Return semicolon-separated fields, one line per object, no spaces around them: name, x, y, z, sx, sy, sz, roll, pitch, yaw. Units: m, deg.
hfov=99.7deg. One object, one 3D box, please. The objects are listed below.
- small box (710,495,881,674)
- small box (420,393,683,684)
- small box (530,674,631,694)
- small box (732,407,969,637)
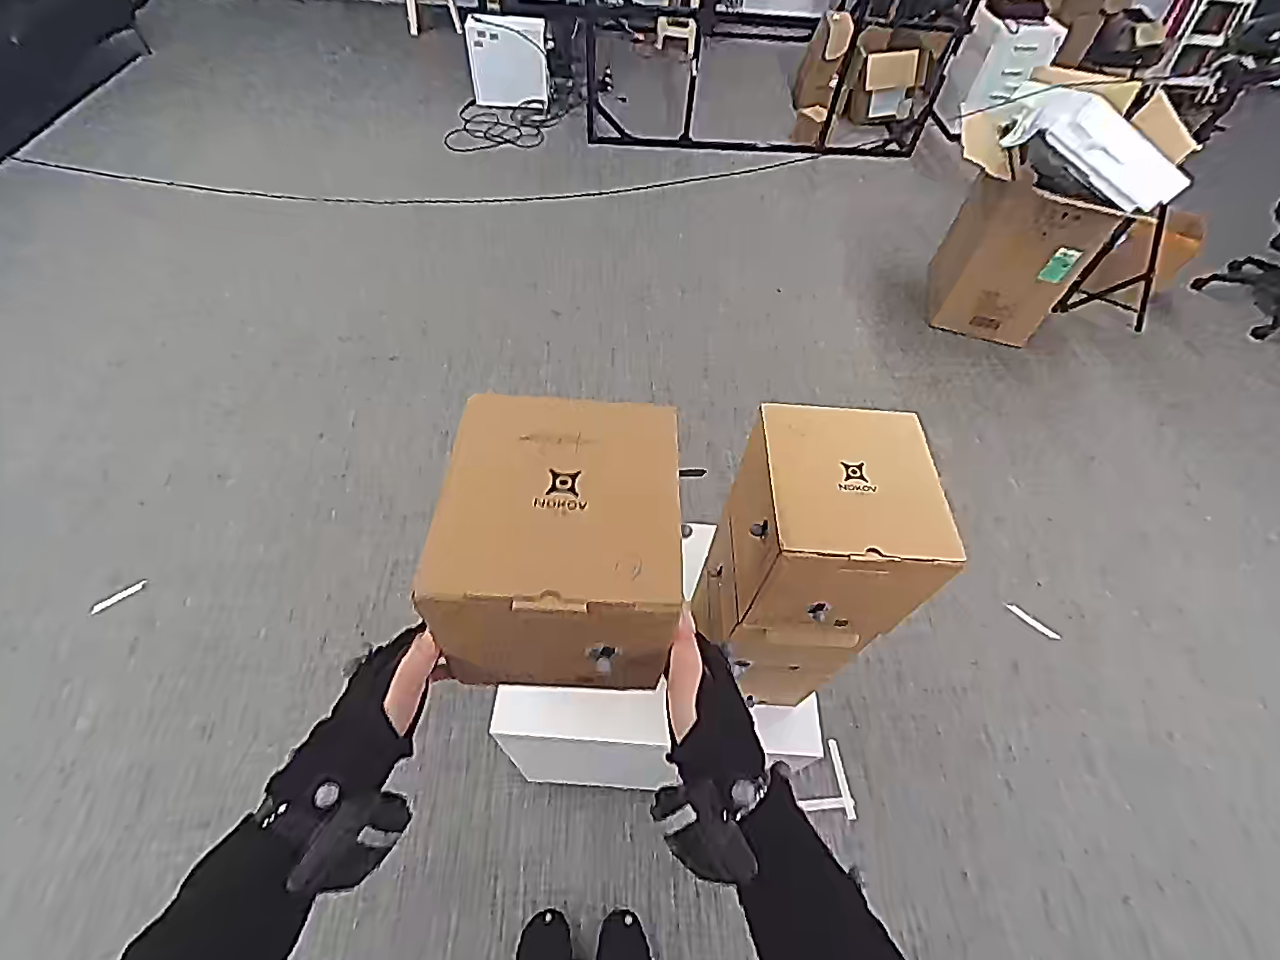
small box;0.186;0.141;0.703;0.168;0.176;0.179;4;54;-2
small box;-0.057;0.054;0.443;0.168;0.176;0.179;4;52;-3
small box;-0.084;0.211;0.835;0.168;0.176;0.179;6;53;-1
small box;0.197;0.048;0.570;0.168;0.176;0.179;4;55;-2
